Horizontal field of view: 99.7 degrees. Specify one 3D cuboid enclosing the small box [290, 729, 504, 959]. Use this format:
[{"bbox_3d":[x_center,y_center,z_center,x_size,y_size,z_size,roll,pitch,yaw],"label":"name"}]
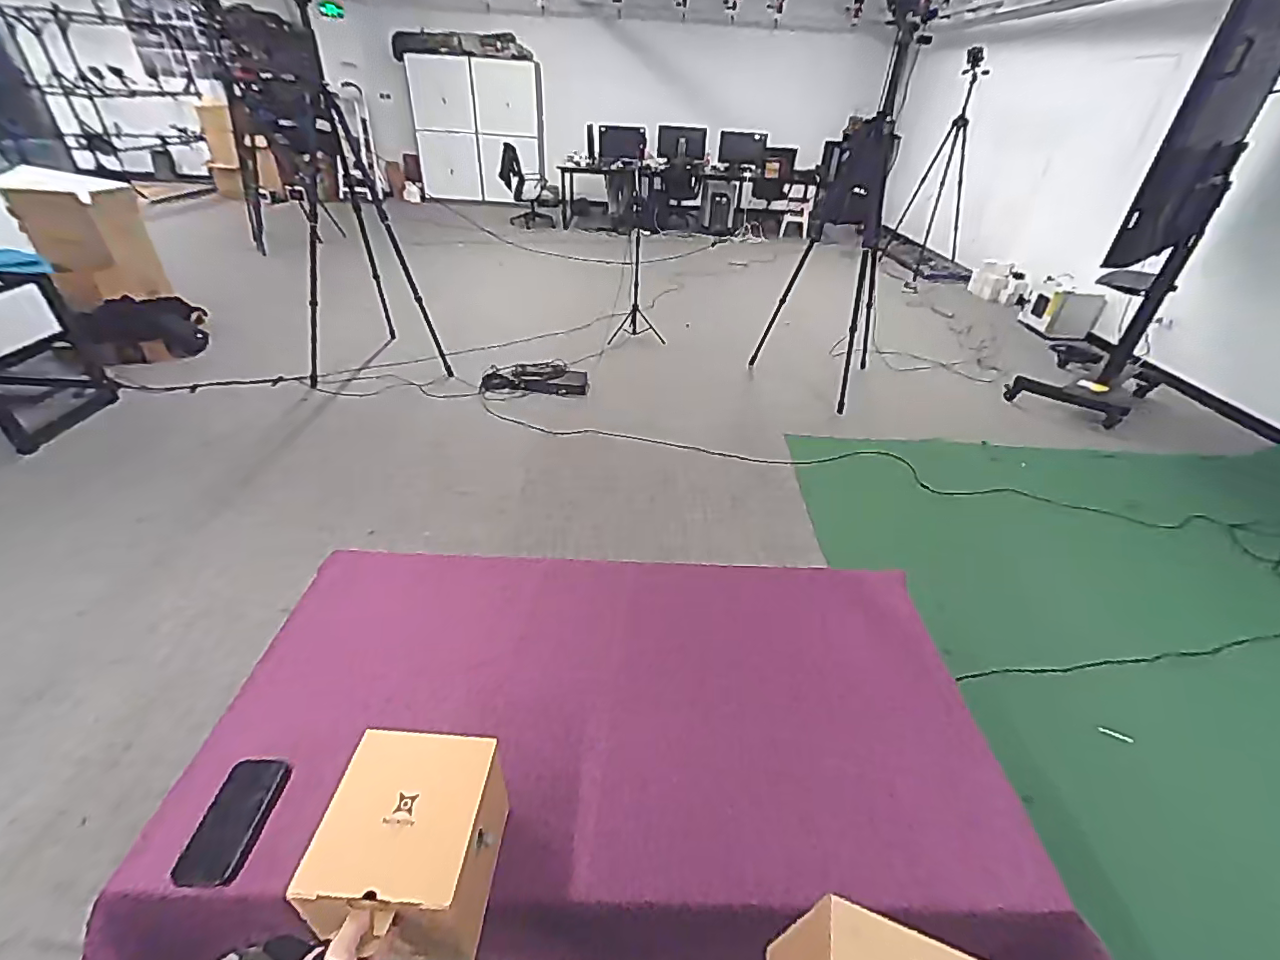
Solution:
[{"bbox_3d":[-0.264,0.430,0.641,0.168,0.176,0.179,5,35,1],"label":"small box"}]
